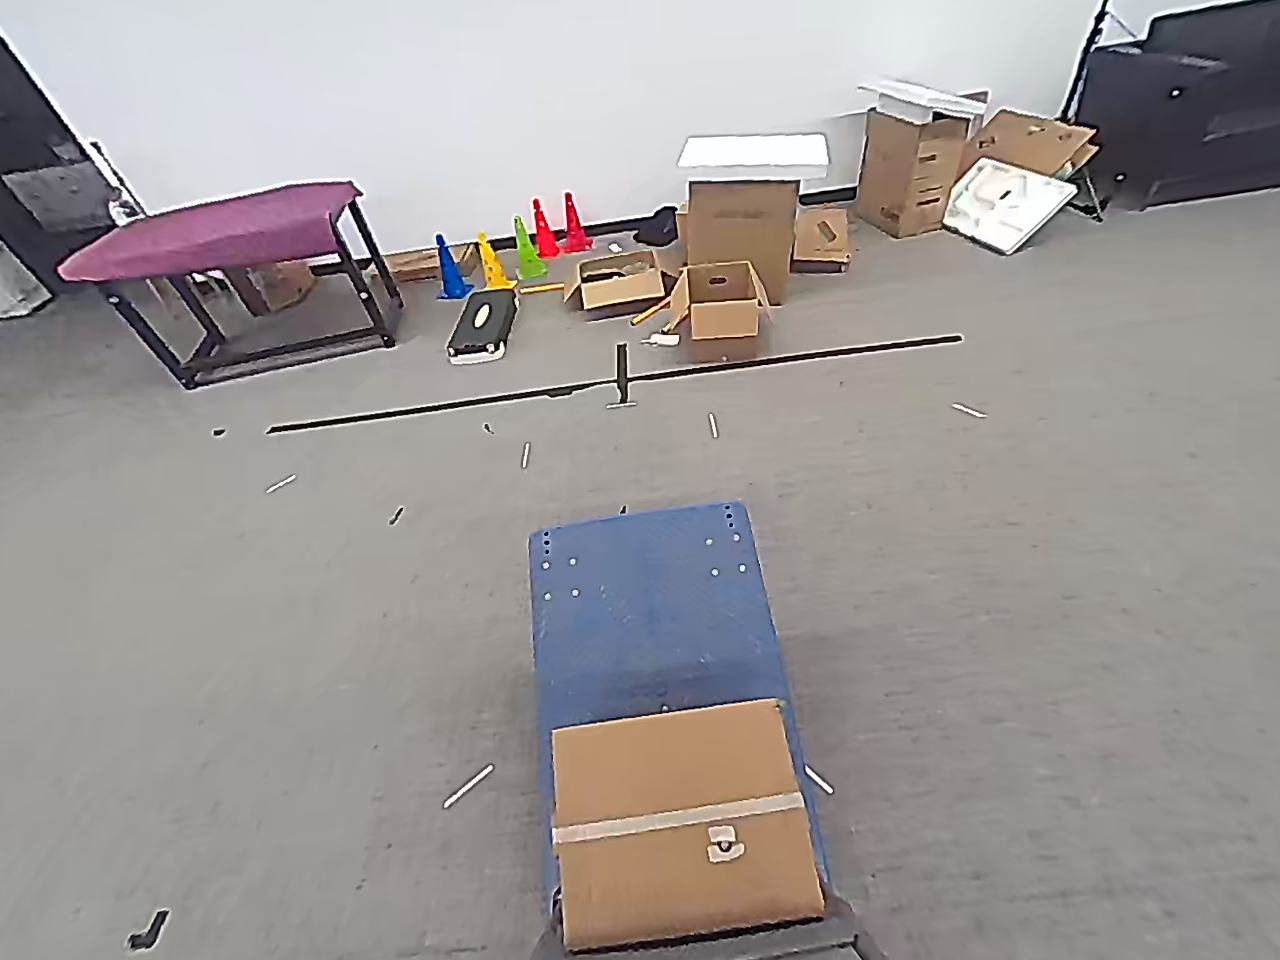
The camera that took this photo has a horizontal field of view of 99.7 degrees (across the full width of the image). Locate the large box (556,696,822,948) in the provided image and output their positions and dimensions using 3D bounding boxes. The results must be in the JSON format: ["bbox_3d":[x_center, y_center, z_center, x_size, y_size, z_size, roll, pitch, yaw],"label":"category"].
[{"bbox_3d":[0.075,0.618,1.035,0.408,0.320,0.320,-9,66,-1],"label":"large box"}]
